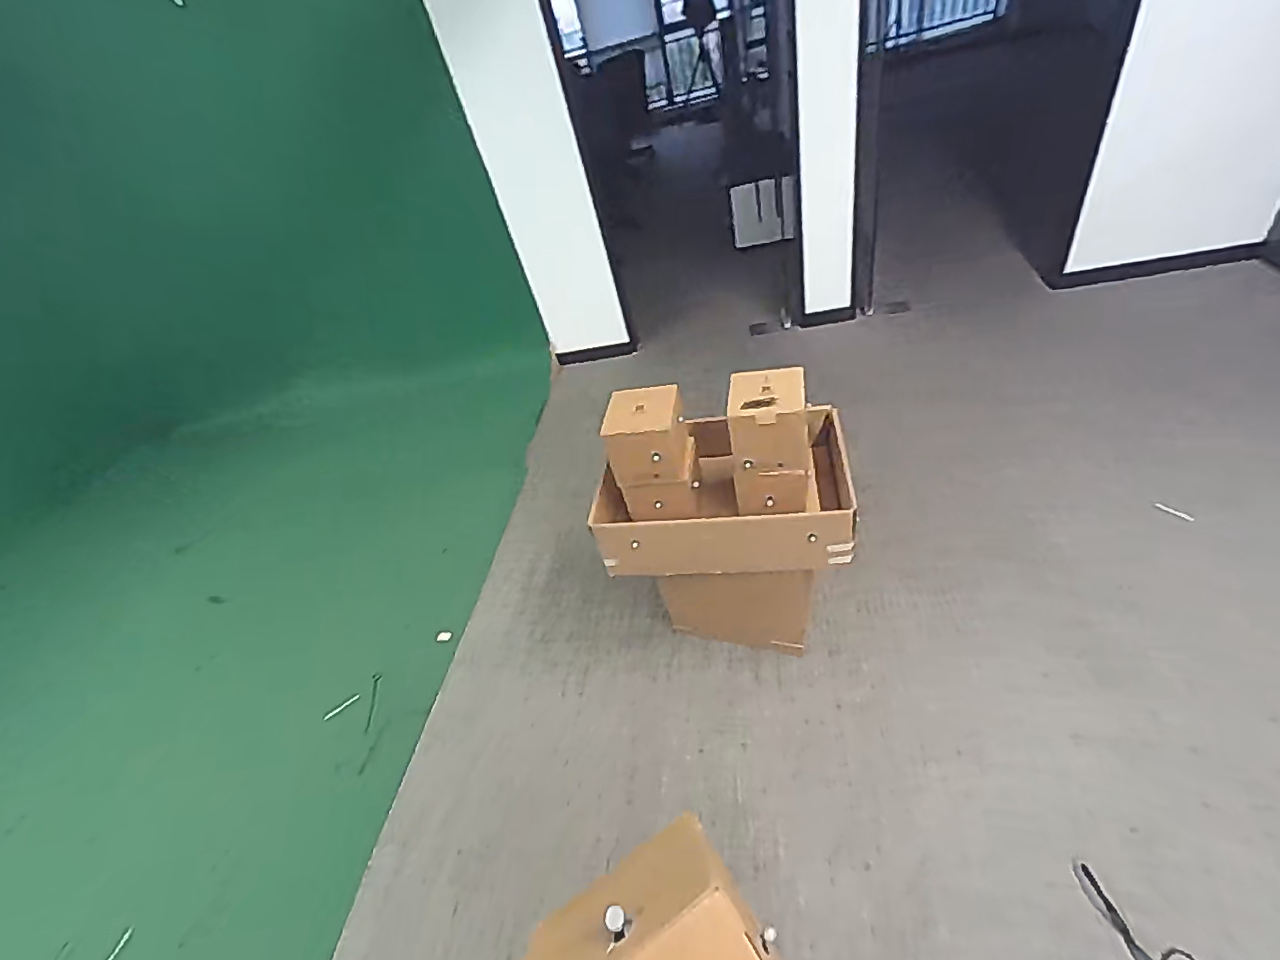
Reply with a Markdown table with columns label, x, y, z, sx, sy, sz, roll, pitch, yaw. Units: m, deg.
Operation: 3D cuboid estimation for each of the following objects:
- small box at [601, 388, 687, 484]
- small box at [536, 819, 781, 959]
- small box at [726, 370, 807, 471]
| label | x | y | z | sx | sy | sz | roll | pitch | yaw |
| --- | --- | --- | --- | --- | --- | --- | --- | --- | --- |
| small box | 0.018 | -0.101 | 1.321 | 0.168 | 0.176 | 0.179 | -4 | 42 | 15 |
| small box | 0.025 | 0.407 | 0.414 | 0.179 | 0.176 | 0.168 | -30 | 76 | -11 |
| small box | 0.298 | -0.132 | 1.258 | 0.168 | 0.176 | 0.179 | -2 | 42 | 16 |
